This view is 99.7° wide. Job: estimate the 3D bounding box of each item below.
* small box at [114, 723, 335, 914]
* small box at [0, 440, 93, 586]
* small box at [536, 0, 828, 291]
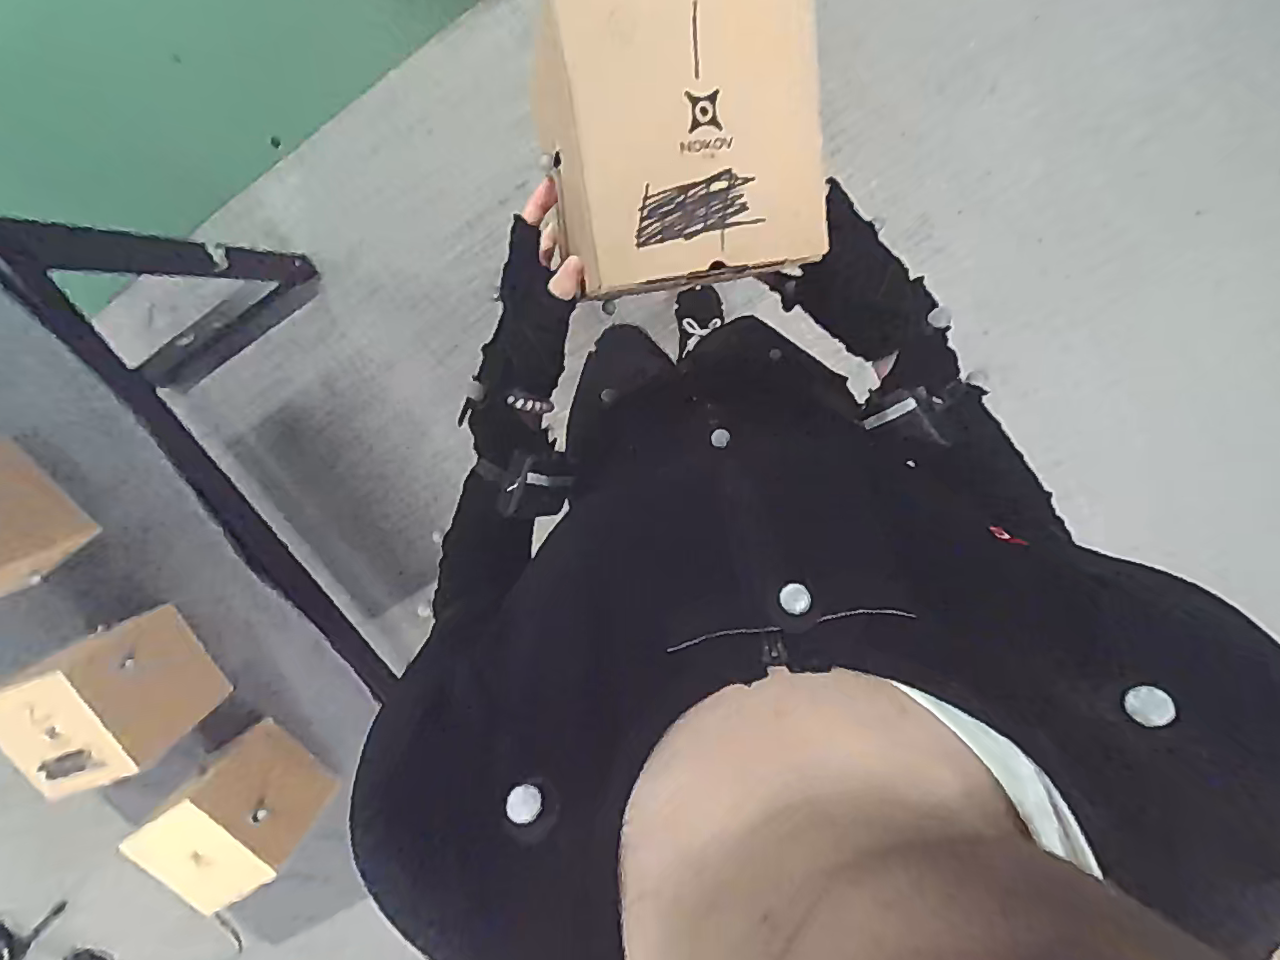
[{"bbox_3d":[-0.639,0.518,0.855,0.168,0.176,0.179,-34,104,12],"label":"small box"},{"bbox_3d":[-0.912,0.059,0.712,0.168,0.176,0.179,-31,105,12],"label":"small box"},{"bbox_3d":[0.021,-0.246,0.410,0.168,0.176,0.179,-13,107,-12],"label":"small box"}]
